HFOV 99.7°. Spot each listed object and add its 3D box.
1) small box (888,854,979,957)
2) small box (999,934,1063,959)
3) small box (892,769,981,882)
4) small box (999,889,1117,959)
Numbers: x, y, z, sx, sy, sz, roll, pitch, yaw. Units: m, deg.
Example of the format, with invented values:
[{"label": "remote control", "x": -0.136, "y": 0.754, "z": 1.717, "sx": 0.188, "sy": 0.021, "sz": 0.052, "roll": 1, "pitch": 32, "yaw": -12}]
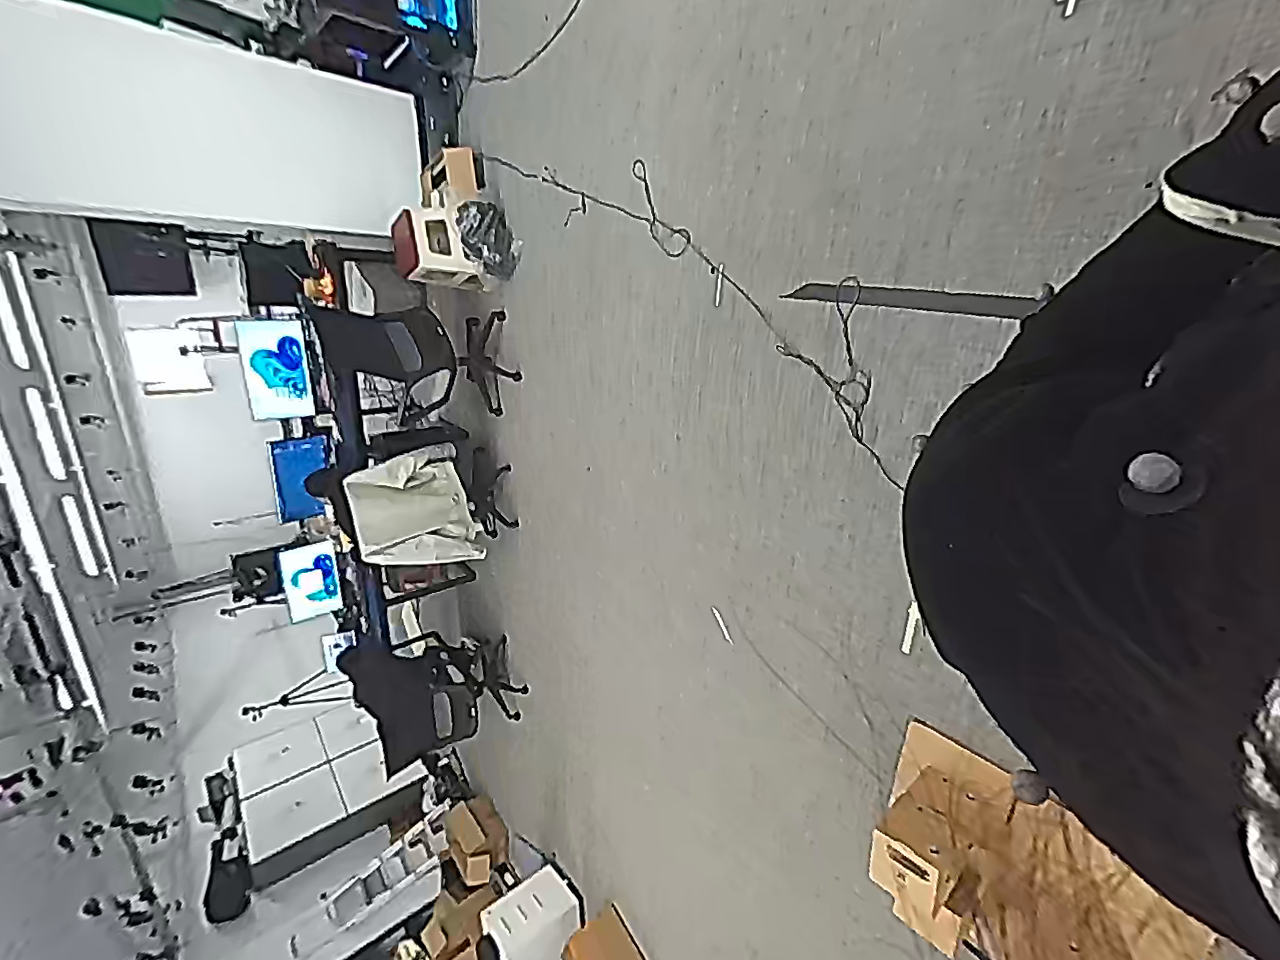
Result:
[{"label": "small box", "x": 0.867, "y": 1.228, "z": 1.600, "sx": 0.179, "sy": 0.176, "sz": 0.168, "roll": 17, "pitch": 115, "yaw": 46}, {"label": "small box", "x": 0.927, "y": 1.216, "z": 1.255, "sx": 0.179, "sy": 0.176, "sz": 0.168, "roll": 28, "pitch": 121, "yaw": 42}, {"label": "small box", "x": 0.849, "y": 0.973, "z": 1.543, "sx": 0.168, "sy": 0.176, "sz": 0.179, "roll": 18, "pitch": 114, "yaw": 47}, {"label": "small box", "x": 1.050, "y": 1.183, "z": 1.360, "sx": 0.179, "sy": 0.176, "sz": 0.168, "roll": 26, "pitch": 120, "yaw": 42}]
